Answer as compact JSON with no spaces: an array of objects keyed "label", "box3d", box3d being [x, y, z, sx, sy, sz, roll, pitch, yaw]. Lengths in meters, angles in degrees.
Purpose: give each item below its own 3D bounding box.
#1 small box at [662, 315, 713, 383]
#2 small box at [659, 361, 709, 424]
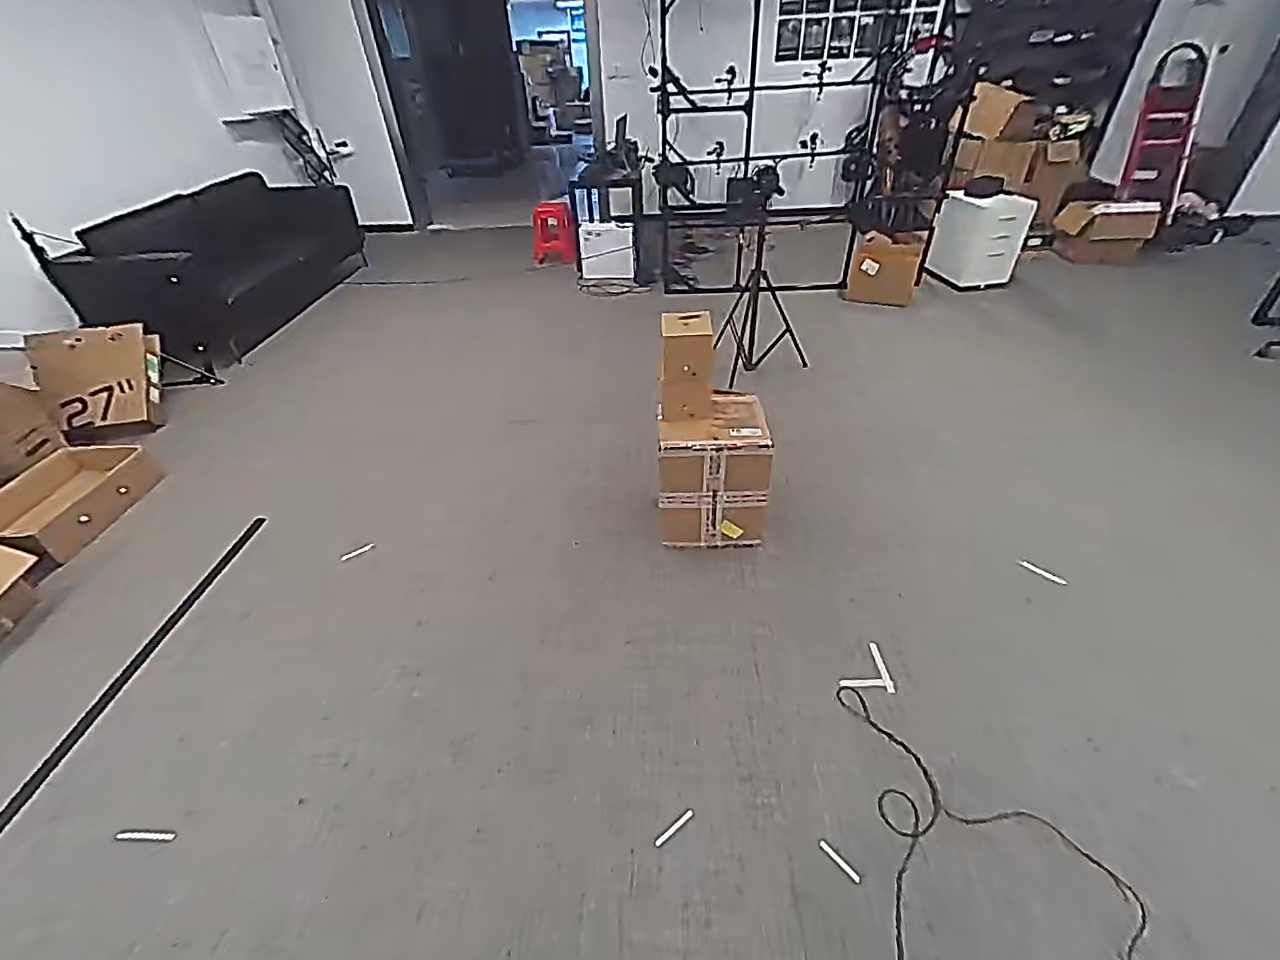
[{"label":"small box","box3d":[0.161,-0.448,1.854,0.168,0.176,0.179,-2,41,4]},{"label":"small box","box3d":[0.157,-0.323,1.962,0.168,0.176,0.179,-5,40,1]}]
